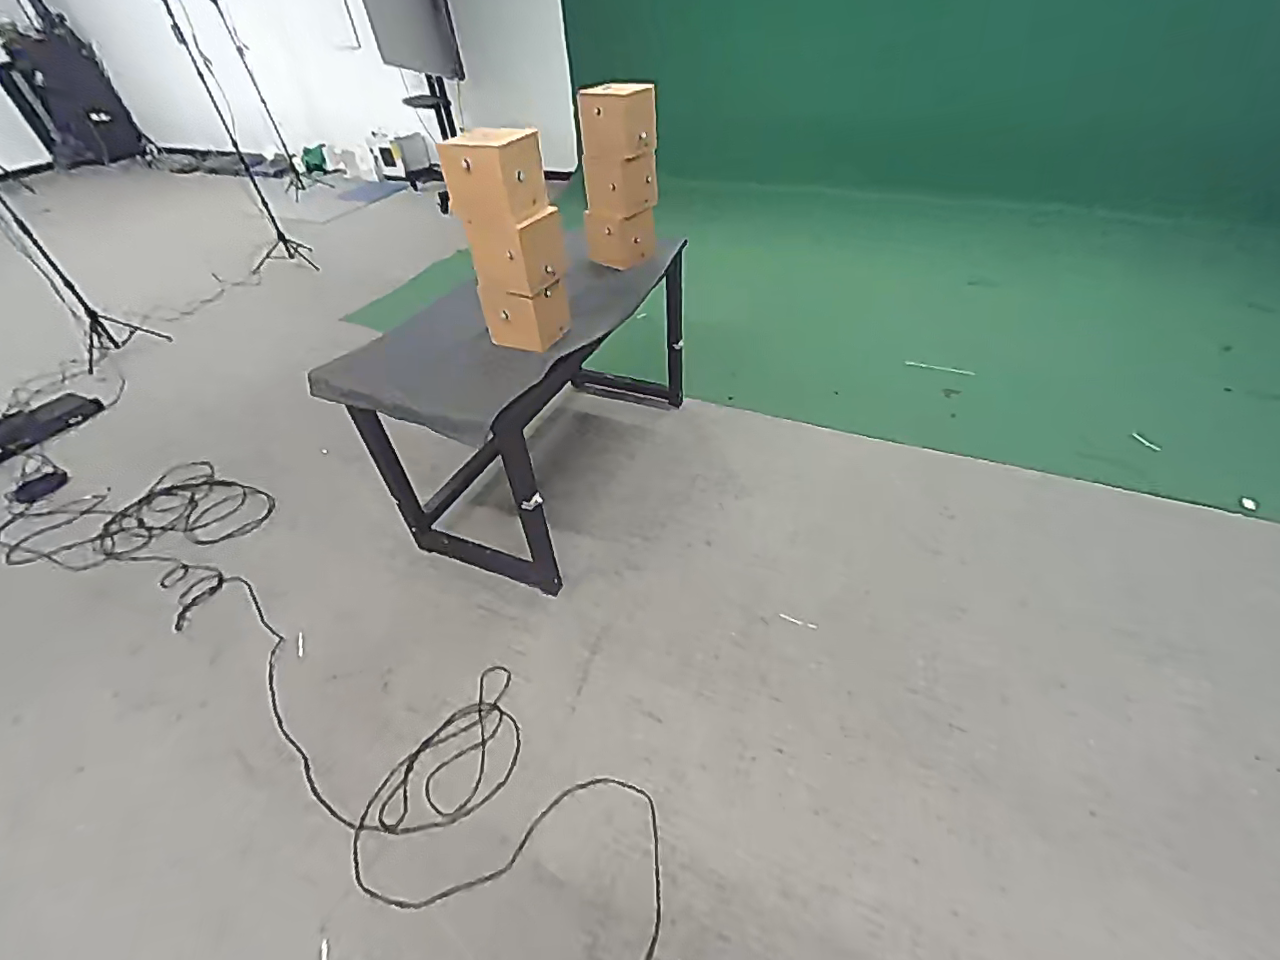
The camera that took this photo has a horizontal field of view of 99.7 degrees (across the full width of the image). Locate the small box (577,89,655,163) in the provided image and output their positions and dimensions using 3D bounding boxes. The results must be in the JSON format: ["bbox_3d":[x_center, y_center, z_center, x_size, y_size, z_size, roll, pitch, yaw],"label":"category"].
[{"bbox_3d":[-0.070,-1.093,1.669,0.179,0.176,0.168,22,49,26],"label":"small box"}]

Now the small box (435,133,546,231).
[{"bbox_3d":[-0.345,-0.709,1.290,0.179,0.176,0.168,14,46,20],"label":"small box"}]

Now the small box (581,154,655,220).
[{"bbox_3d":[-0.066,-0.969,1.778,0.179,0.176,0.168,26,50,32],"label":"small box"}]

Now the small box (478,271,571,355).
[{"bbox_3d":[-0.314,-0.464,1.506,0.179,0.176,0.168,14,46,21],"label":"small box"}]

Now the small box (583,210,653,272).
[{"bbox_3d":[-0.071,-0.841,1.878,0.179,0.176,0.168,31,53,35],"label":"small box"}]
